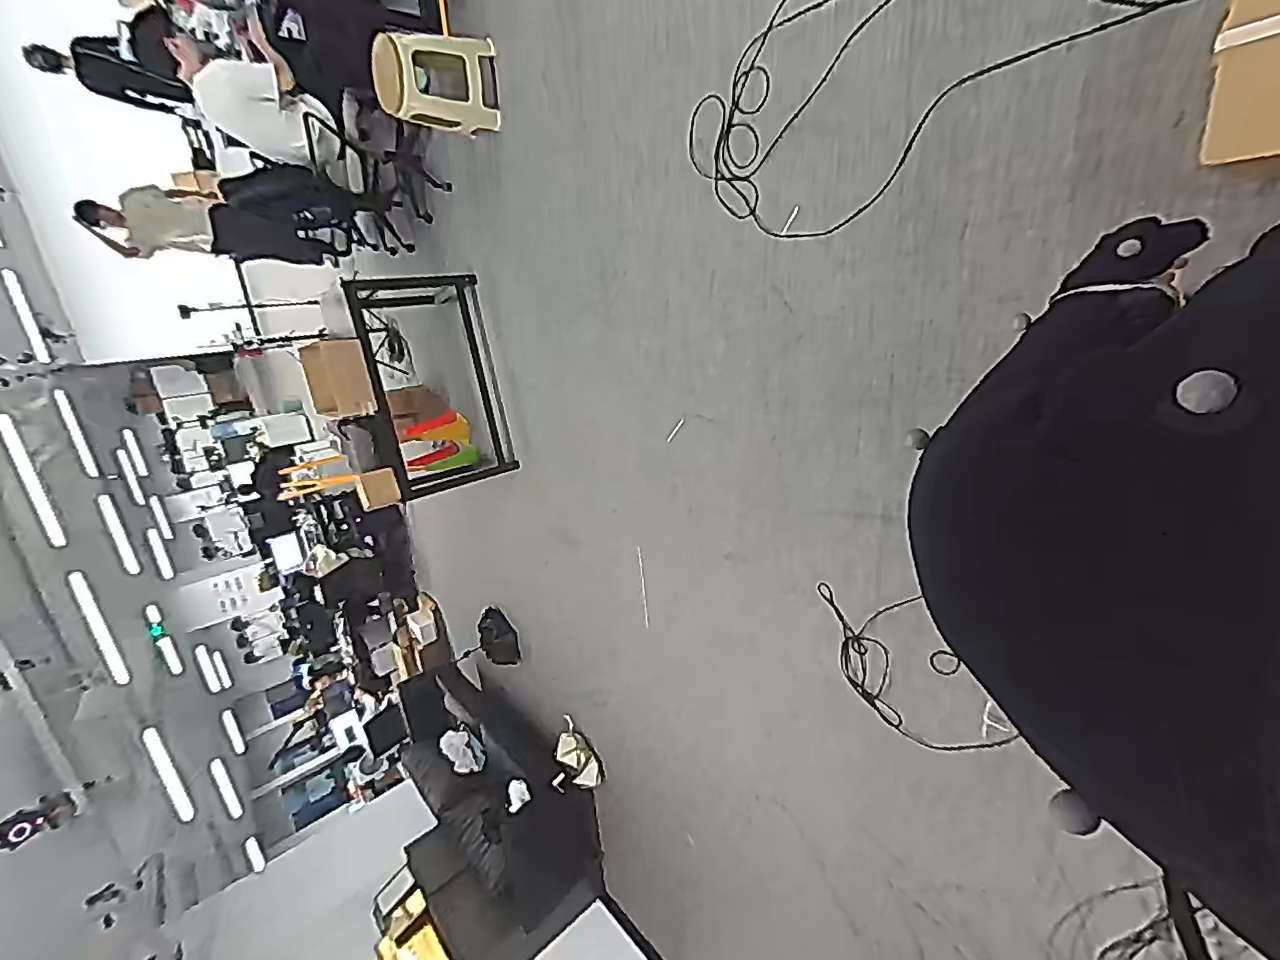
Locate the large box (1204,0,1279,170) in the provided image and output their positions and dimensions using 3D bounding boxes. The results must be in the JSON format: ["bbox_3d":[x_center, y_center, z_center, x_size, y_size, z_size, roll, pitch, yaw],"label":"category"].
[{"bbox_3d":[1.041,-0.621,0.684,0.408,0.320,0.320,15,119,47],"label":"large box"}]
